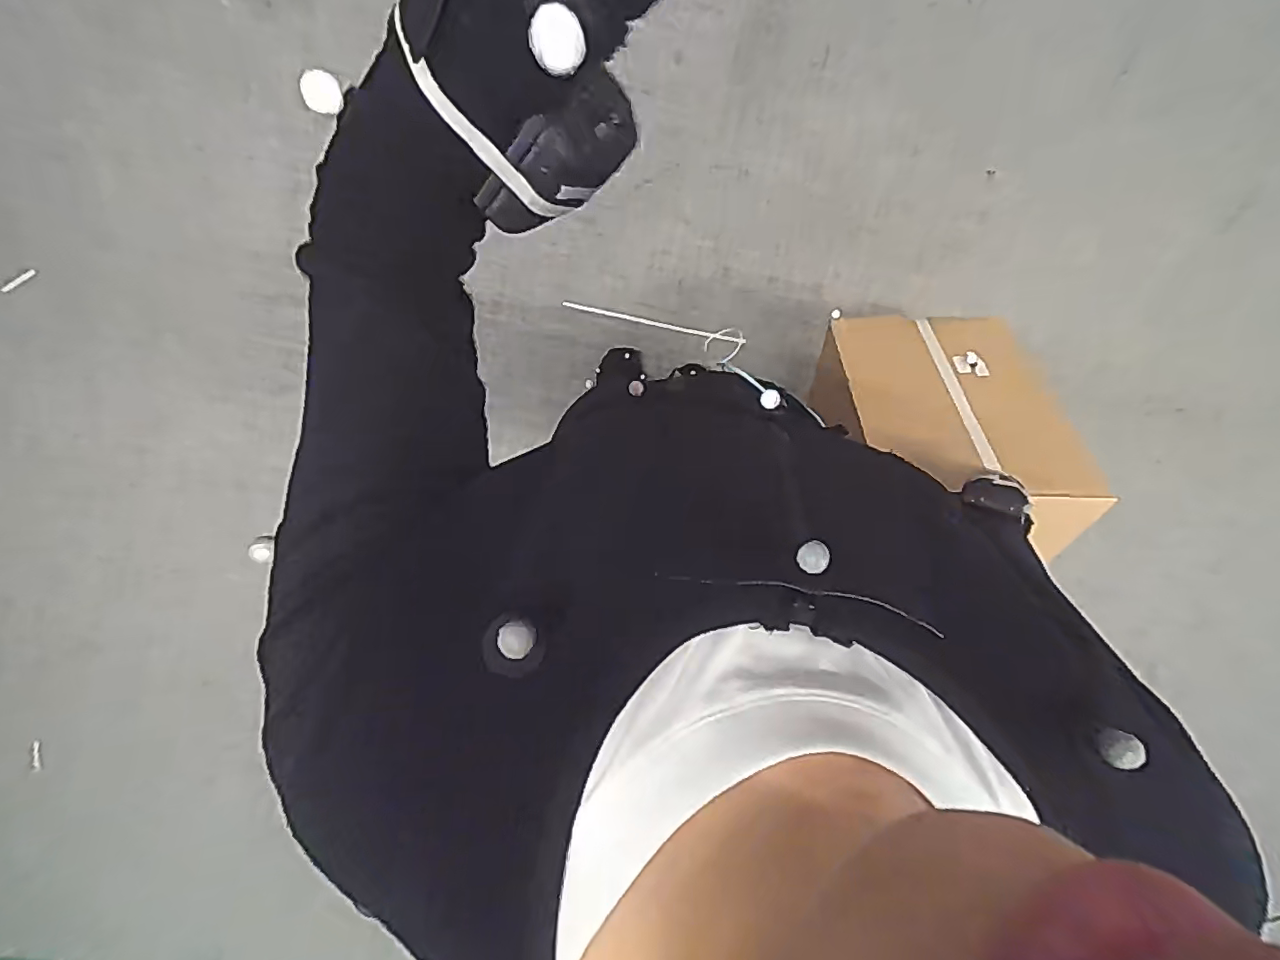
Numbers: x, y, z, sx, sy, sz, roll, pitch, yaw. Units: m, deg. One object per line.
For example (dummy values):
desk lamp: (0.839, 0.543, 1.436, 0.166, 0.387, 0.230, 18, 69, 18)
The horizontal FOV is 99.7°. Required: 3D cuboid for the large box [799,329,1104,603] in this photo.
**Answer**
large box: (0.494, -0.024, 0.980, 0.320, 0.408, 0.320, 1, 140, 3)
